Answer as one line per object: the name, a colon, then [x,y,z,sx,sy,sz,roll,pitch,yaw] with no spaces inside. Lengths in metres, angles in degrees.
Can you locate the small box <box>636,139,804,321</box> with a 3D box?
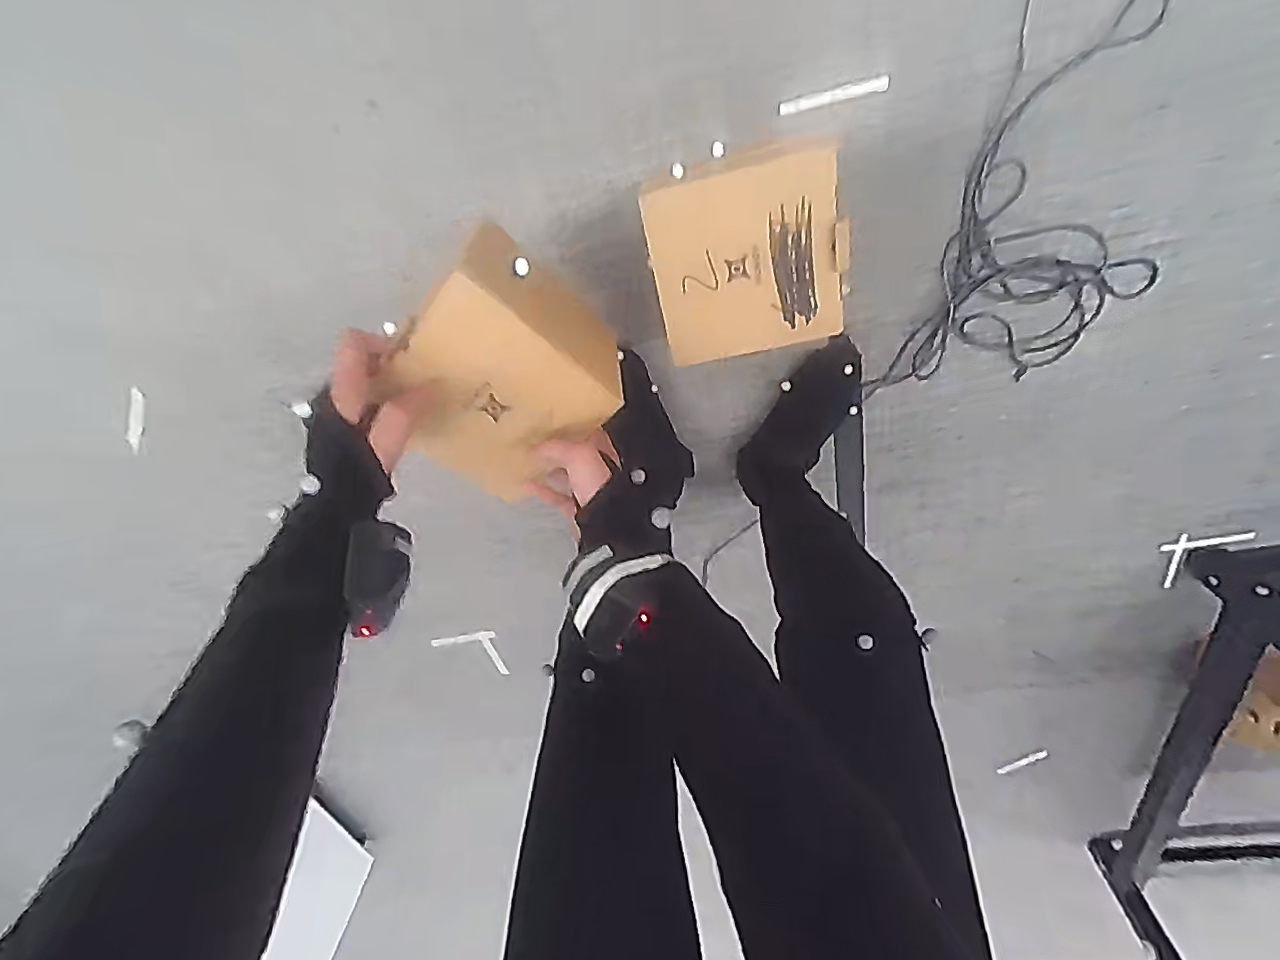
small box: [0.105,-0.326,0.705,0.179,0.176,0.168,-11,121,11]

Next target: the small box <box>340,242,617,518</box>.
small box: [-0.143,-0.103,0.525,0.179,0.176,0.168,35,117,-28]
